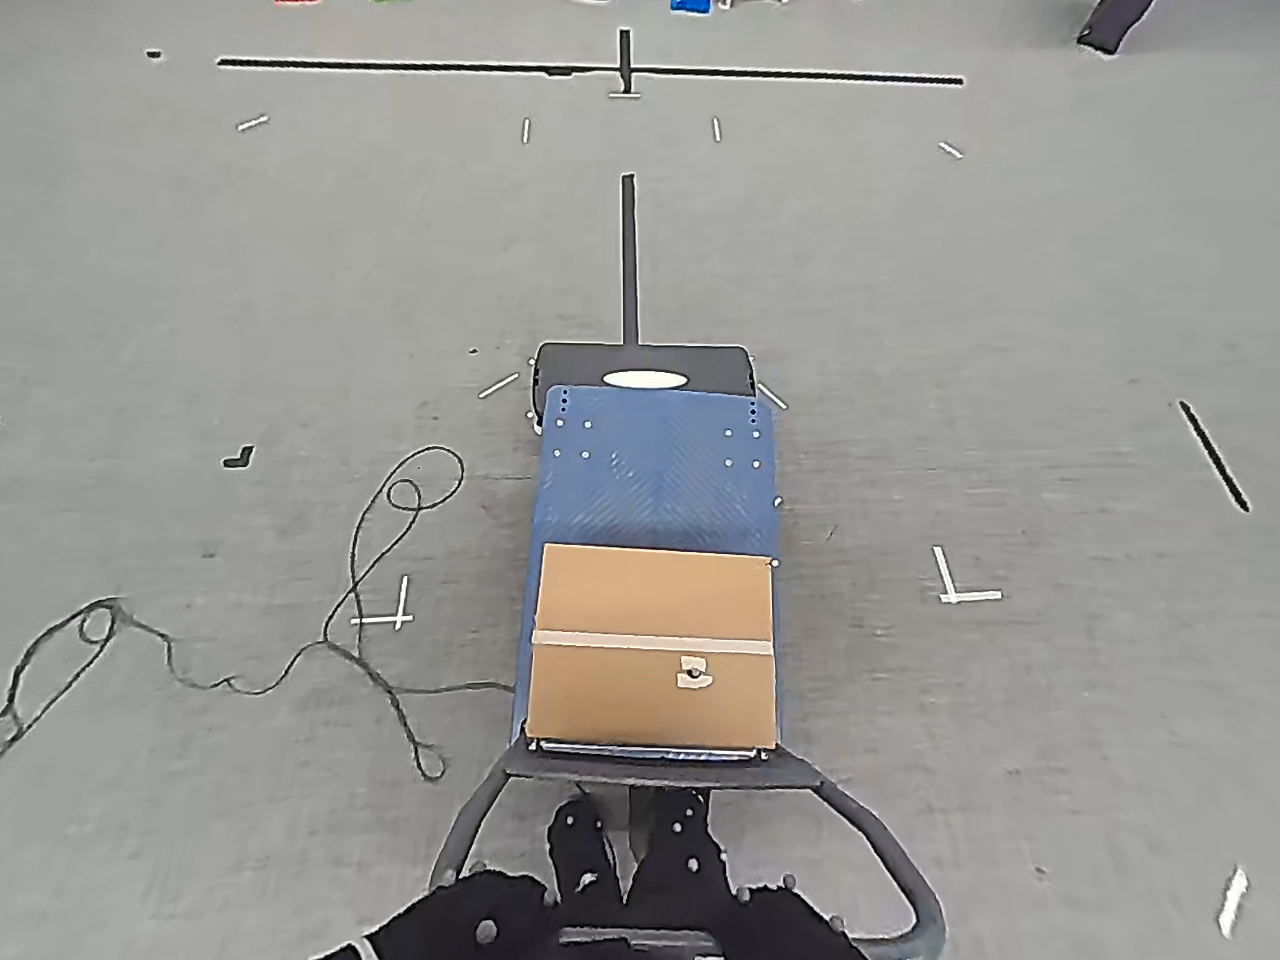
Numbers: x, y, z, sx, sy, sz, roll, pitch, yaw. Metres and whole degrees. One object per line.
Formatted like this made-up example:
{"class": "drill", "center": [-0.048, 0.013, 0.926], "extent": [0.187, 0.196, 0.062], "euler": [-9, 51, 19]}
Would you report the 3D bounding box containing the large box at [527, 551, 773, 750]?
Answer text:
{"class": "large box", "center": [0.011, 0.325, 1.046], "extent": [0.408, 0.320, 0.320], "euler": [4, 73, -3]}
